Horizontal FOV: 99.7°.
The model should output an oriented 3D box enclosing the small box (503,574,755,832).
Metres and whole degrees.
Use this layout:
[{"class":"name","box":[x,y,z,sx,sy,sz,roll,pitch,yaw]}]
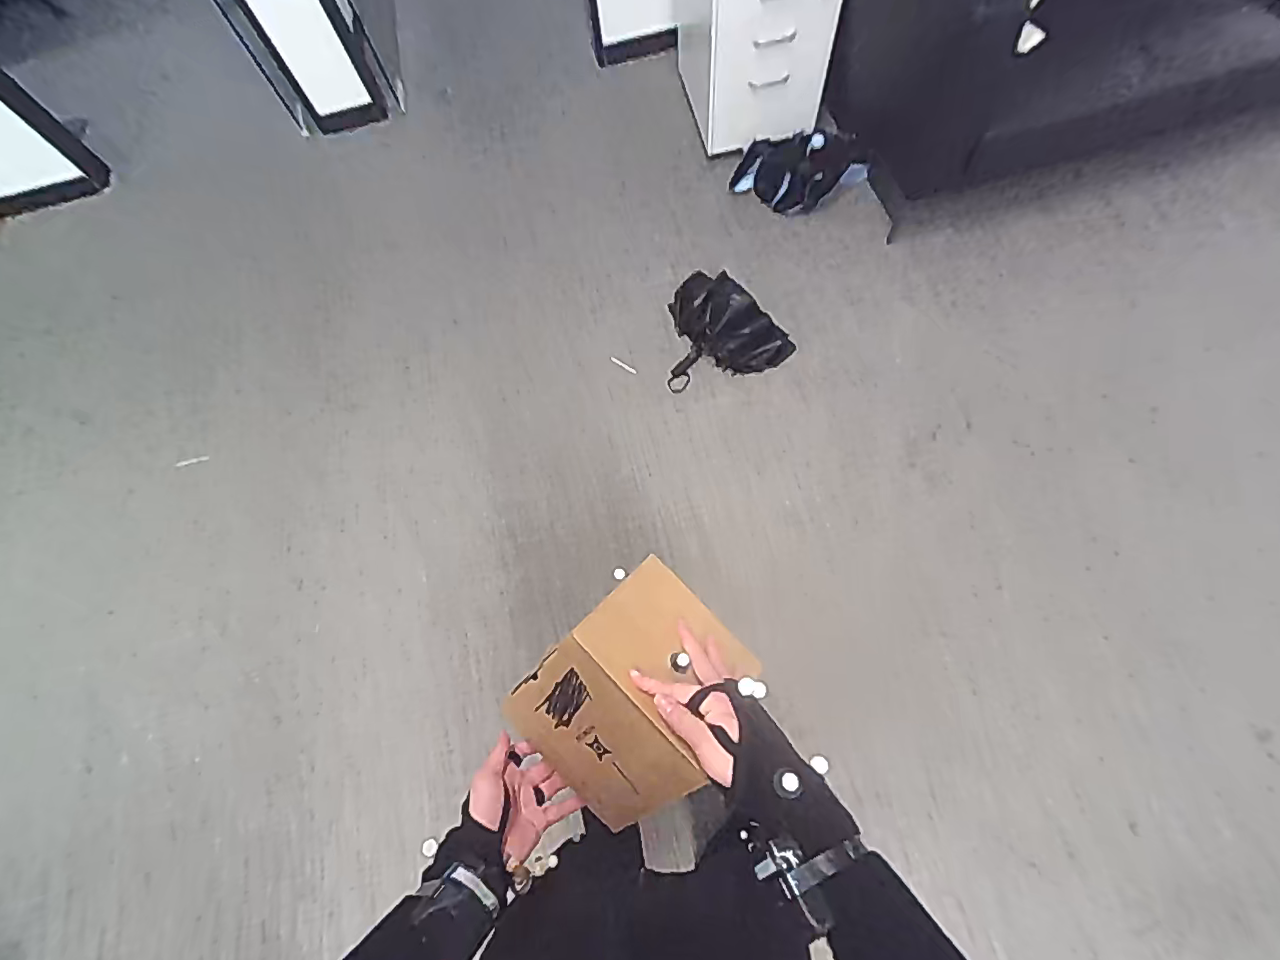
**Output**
[{"class":"small box","box":[-0.006,0.226,0.587,0.179,0.168,0.176,45,35,6]}]
